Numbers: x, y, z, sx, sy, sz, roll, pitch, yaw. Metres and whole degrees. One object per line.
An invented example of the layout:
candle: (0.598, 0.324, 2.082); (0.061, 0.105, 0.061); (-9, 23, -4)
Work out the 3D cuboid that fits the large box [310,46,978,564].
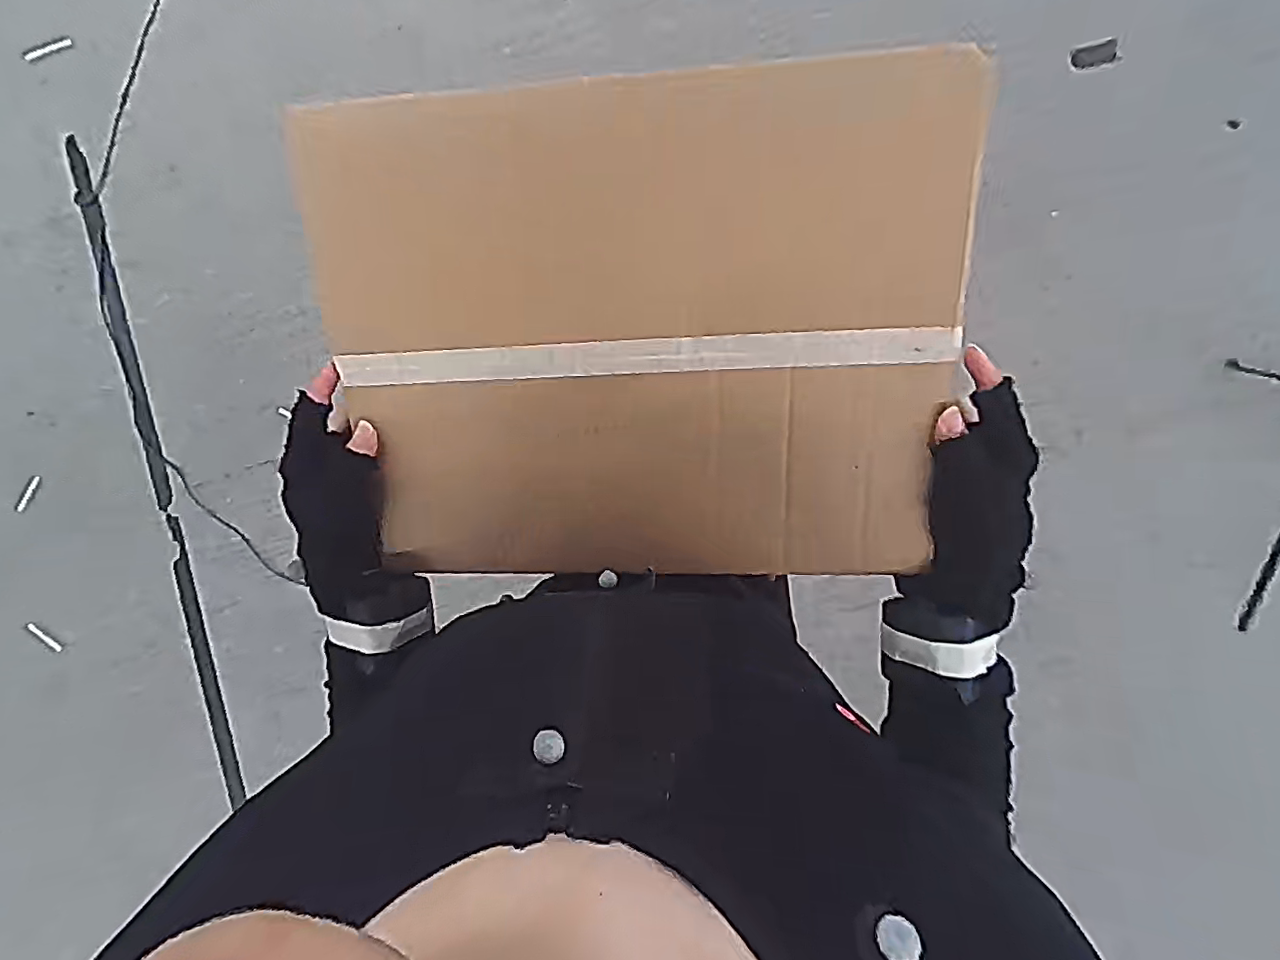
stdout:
large box: (0.010, -0.132, 0.501); (0.408, 0.320, 0.320); (-1, 109, 6)
